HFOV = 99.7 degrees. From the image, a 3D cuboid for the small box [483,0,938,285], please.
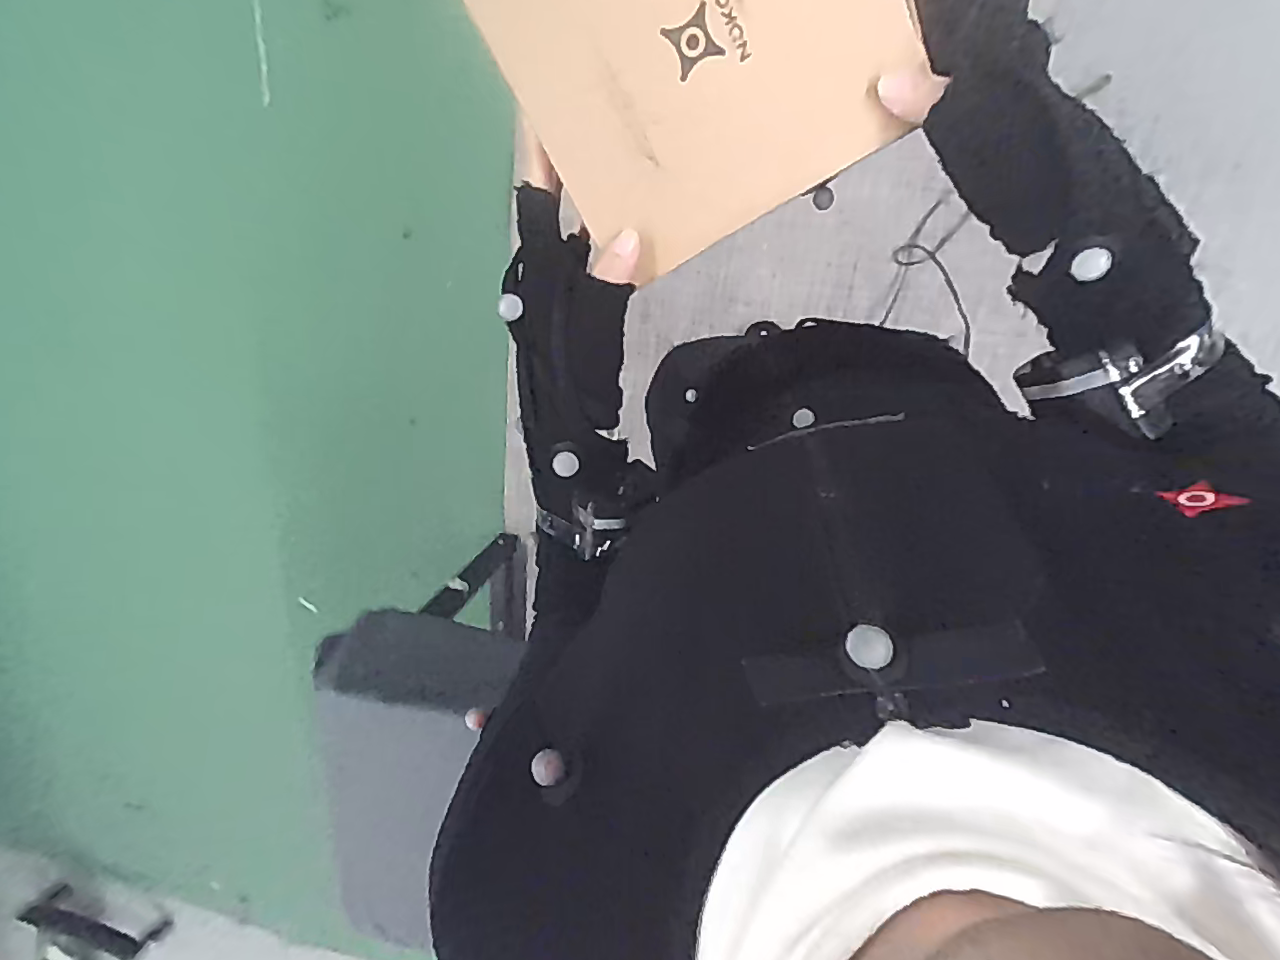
[{"bbox_3d":[0.036,-0.239,0.327,0.179,0.176,0.168,-25,108,14],"label":"small box"}]
